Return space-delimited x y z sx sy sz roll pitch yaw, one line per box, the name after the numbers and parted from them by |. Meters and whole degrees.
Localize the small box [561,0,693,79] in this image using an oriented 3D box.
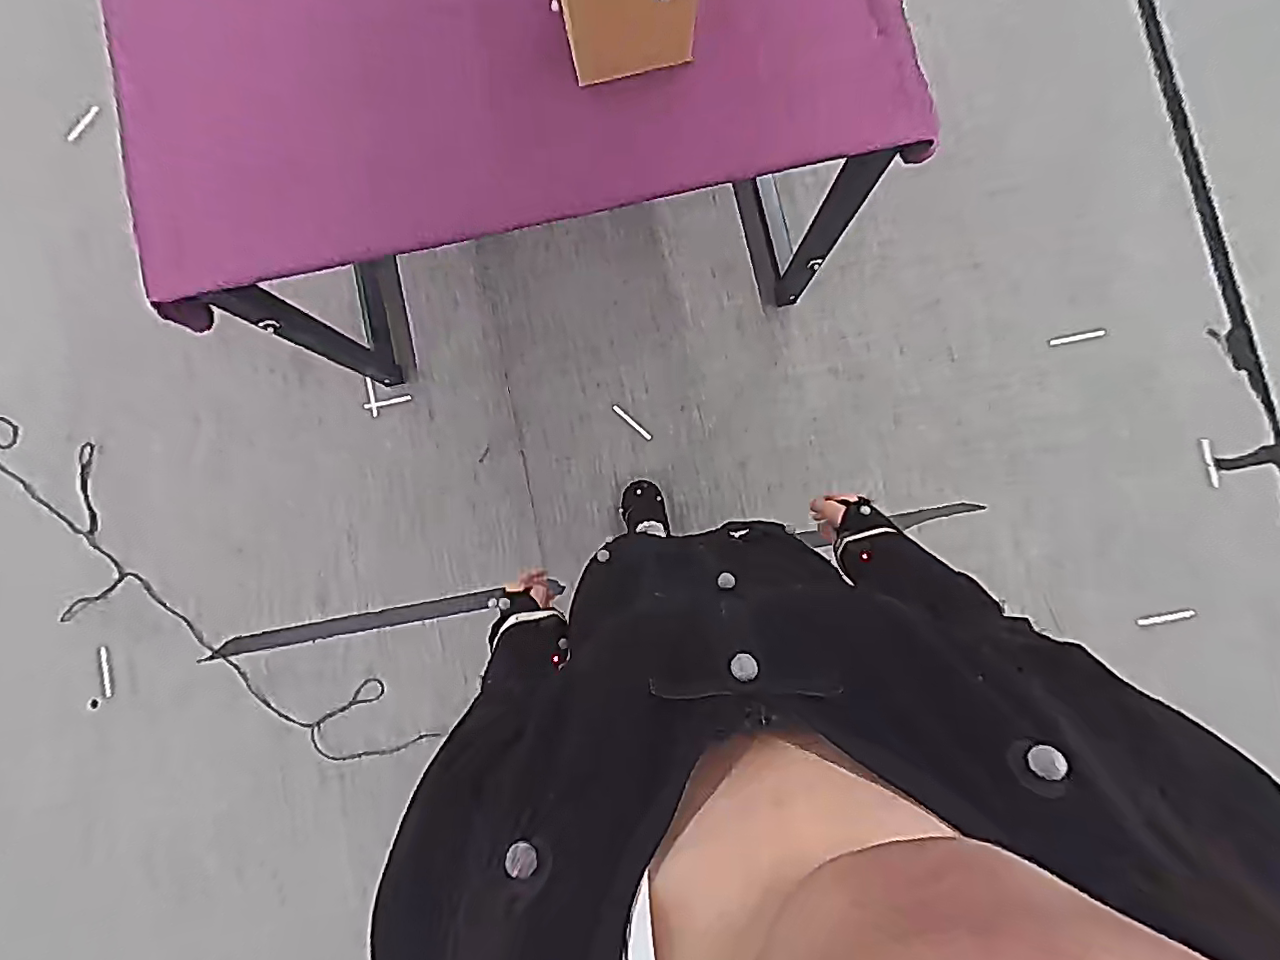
-0.026 -0.703 0.742 0.179 0.176 0.168 -13 86 1 | small box
